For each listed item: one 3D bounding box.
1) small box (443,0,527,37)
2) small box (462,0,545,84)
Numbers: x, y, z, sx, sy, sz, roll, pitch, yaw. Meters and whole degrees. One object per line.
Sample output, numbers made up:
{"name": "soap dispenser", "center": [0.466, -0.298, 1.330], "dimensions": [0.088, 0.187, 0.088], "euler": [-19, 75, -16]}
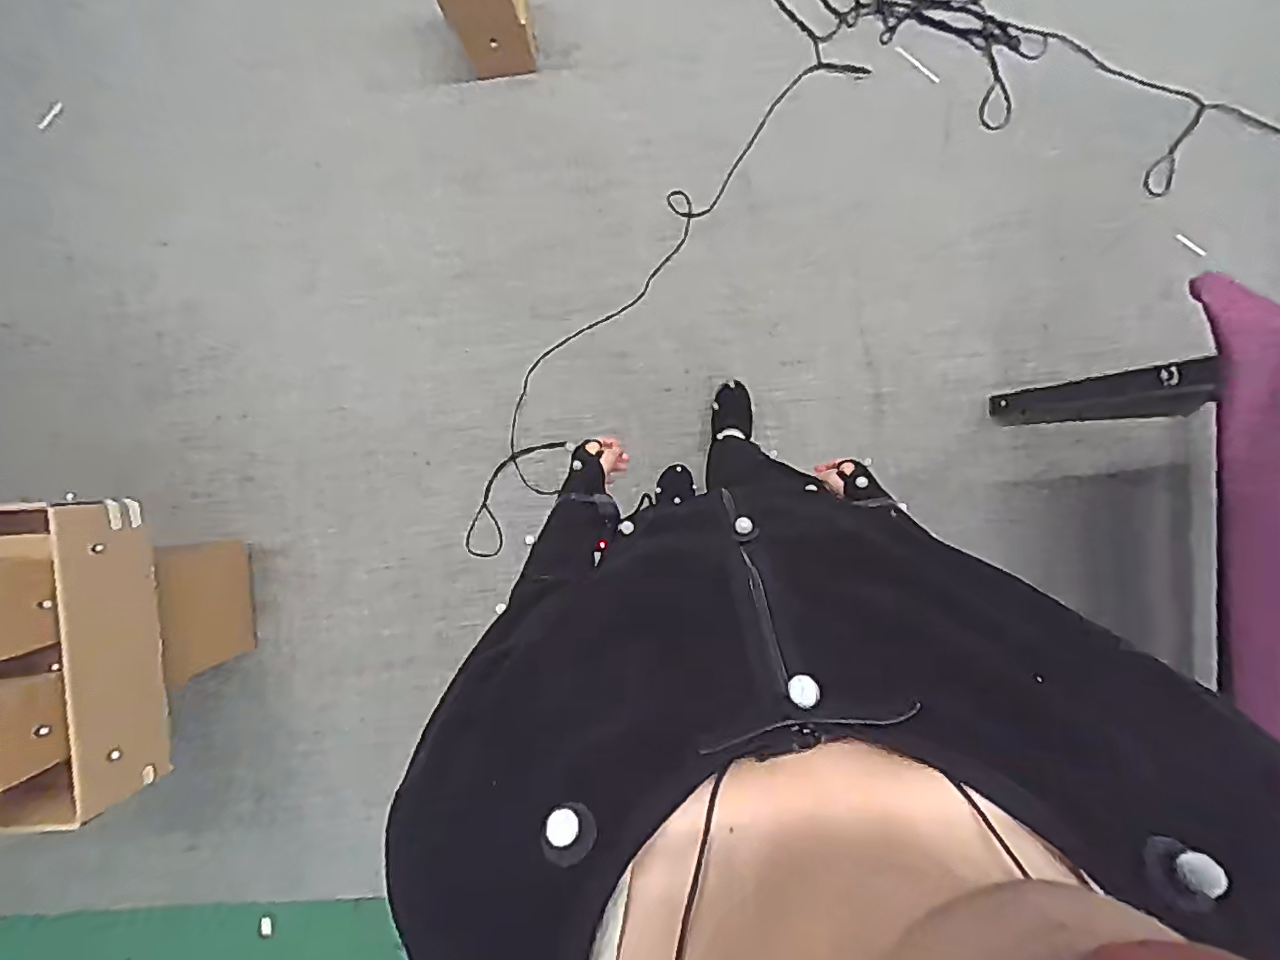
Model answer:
{"name": "small box", "center": [-0.373, -1.171, 1.247], "dimensions": [0.179, 0.176, 0.168], "euler": [-5, 92, 2]}
{"name": "small box", "center": [-0.356, -1.175, 1.410], "dimensions": [0.179, 0.176, 0.168], "euler": [-5, 91, 2]}
